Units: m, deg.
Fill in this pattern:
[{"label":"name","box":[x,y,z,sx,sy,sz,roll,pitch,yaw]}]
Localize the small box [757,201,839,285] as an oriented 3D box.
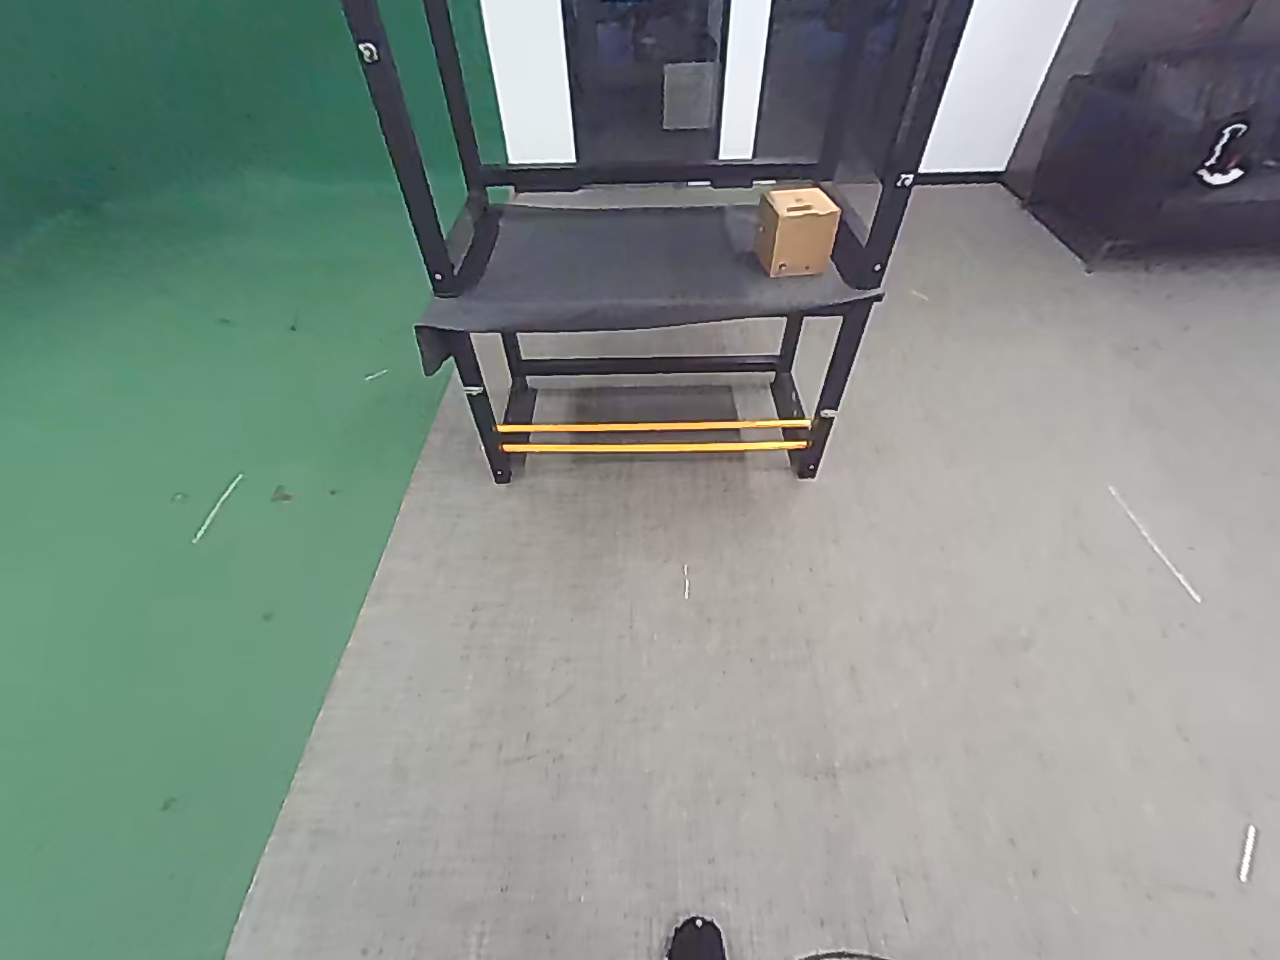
[{"label":"small box","box":[0.434,-0.658,1.513,0.168,0.176,0.179,-6,46,-3]}]
